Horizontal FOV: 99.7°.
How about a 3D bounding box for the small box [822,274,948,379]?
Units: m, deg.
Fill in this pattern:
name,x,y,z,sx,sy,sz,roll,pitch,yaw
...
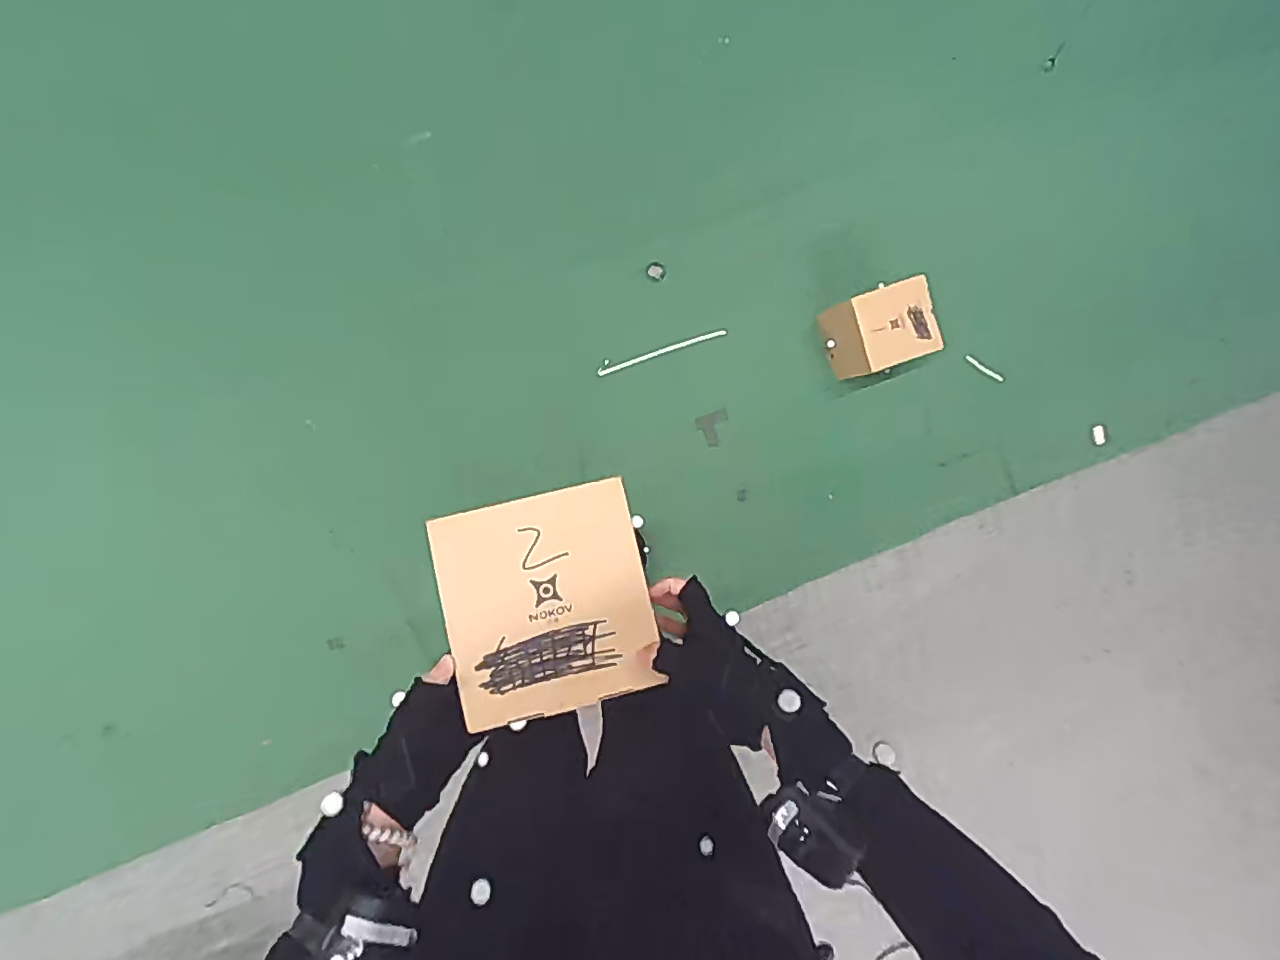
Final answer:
name,x,y,z,sx,sy,sz,roll,pitch,yaw
small box,0.542,-0.336,1.211,0.179,0.176,0.168,-19,96,-5
